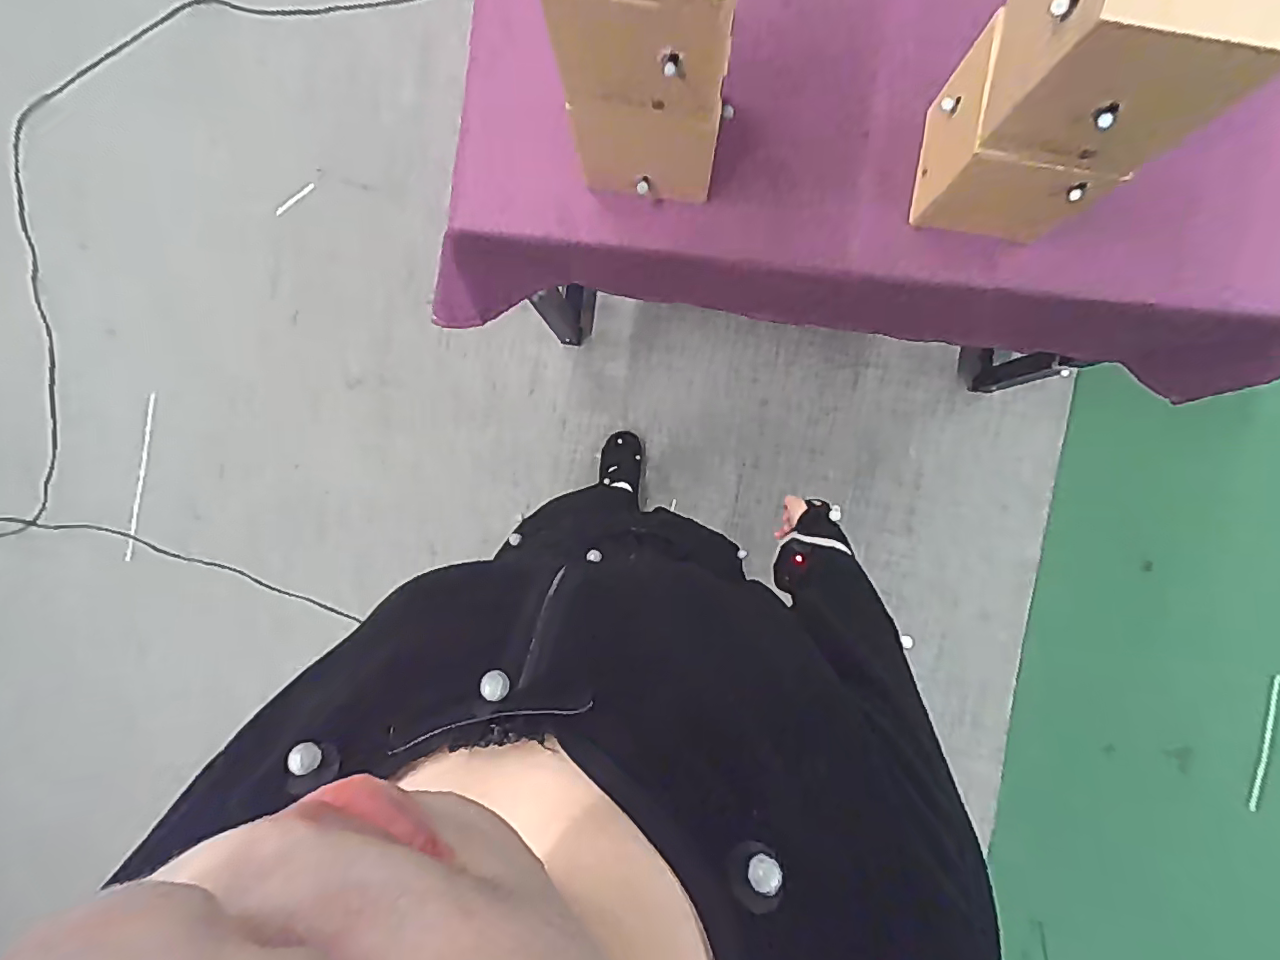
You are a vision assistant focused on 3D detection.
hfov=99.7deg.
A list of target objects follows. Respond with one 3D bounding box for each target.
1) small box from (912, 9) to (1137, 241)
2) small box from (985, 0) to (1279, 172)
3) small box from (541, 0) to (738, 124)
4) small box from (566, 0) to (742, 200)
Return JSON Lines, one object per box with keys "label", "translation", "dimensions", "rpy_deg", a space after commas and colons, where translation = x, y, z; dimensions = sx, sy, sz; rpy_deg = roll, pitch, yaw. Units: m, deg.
{"label": "small box", "translation": [0.465, -0.417, 0.664], "dimensions": [0.179, 0.176, 0.168], "rpy_deg": [11, 90, 2]}
{"label": "small box", "translation": [0.458, -0.423, 0.500], "dimensions": [0.168, 0.176, 0.179], "rpy_deg": [13, 90, 2]}
{"label": "small box", "translation": [0.012, -0.487, 0.521], "dimensions": [0.168, 0.176, 0.179], "rpy_deg": [11, 90, 2]}
{"label": "small box", "translation": [0.018, -0.482, 0.684], "dimensions": [0.179, 0.176, 0.168], "rpy_deg": [10, 90, 2]}
